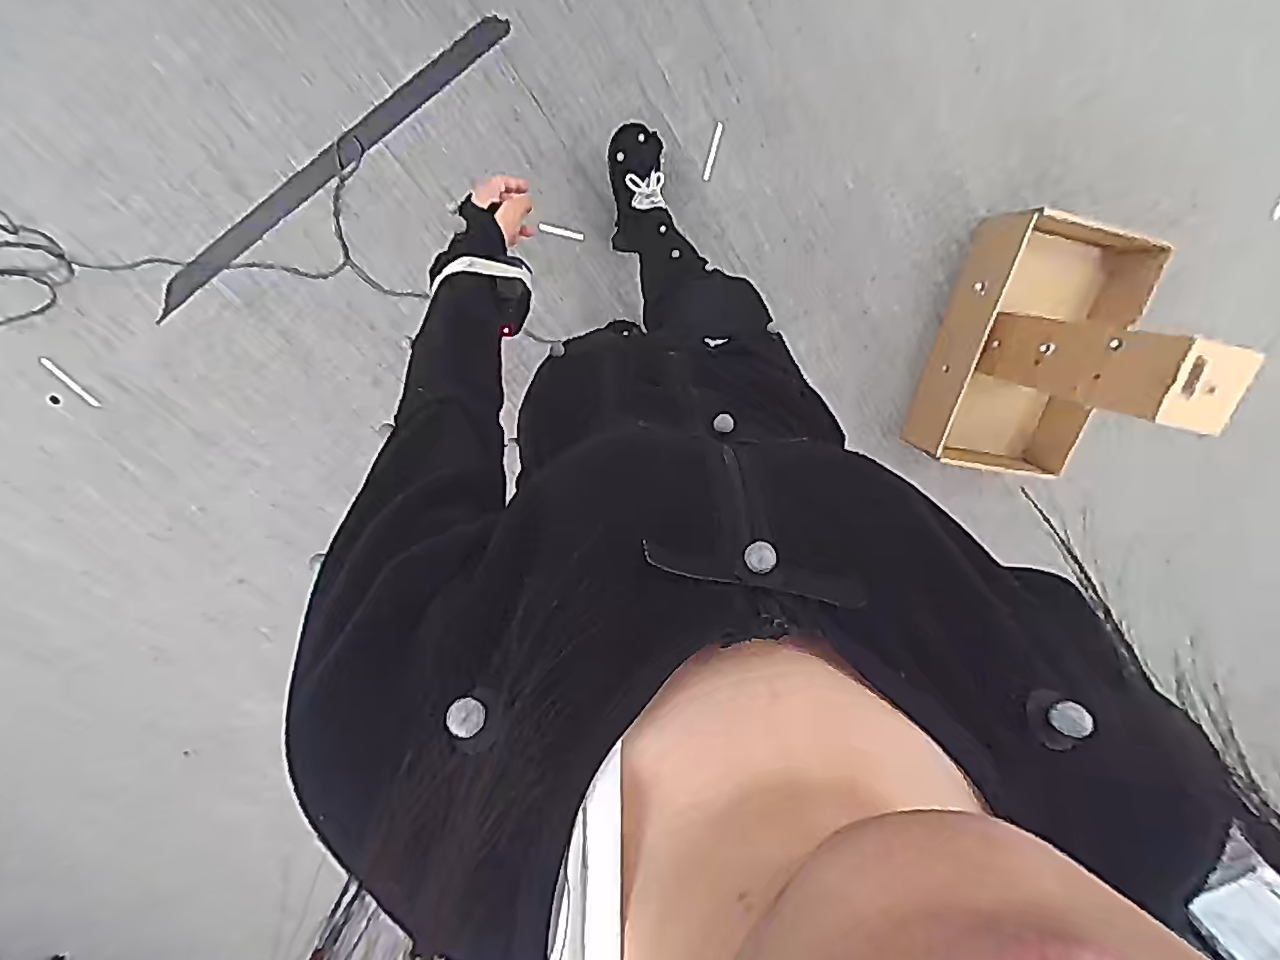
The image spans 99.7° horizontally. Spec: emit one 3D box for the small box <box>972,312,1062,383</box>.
[{"bbox_3d":[1.022,-0.333,1.407,0.179,0.176,0.168,11,110,-12],"label":"small box"}]

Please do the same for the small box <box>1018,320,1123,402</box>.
[{"bbox_3d":[1.044,-0.270,1.259,0.179,0.176,0.168,10,110,-11],"label":"small box"}]

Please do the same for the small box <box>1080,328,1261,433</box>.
[{"bbox_3d":[1.070,-0.209,1.108,0.179,0.176,0.168,8,110,-12],"label":"small box"}]

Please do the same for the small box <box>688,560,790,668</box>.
[{"bbox_3d":[0.225,0.313,1.284,0.168,0.176,0.179,13,110,-12],"label":"small box"}]
